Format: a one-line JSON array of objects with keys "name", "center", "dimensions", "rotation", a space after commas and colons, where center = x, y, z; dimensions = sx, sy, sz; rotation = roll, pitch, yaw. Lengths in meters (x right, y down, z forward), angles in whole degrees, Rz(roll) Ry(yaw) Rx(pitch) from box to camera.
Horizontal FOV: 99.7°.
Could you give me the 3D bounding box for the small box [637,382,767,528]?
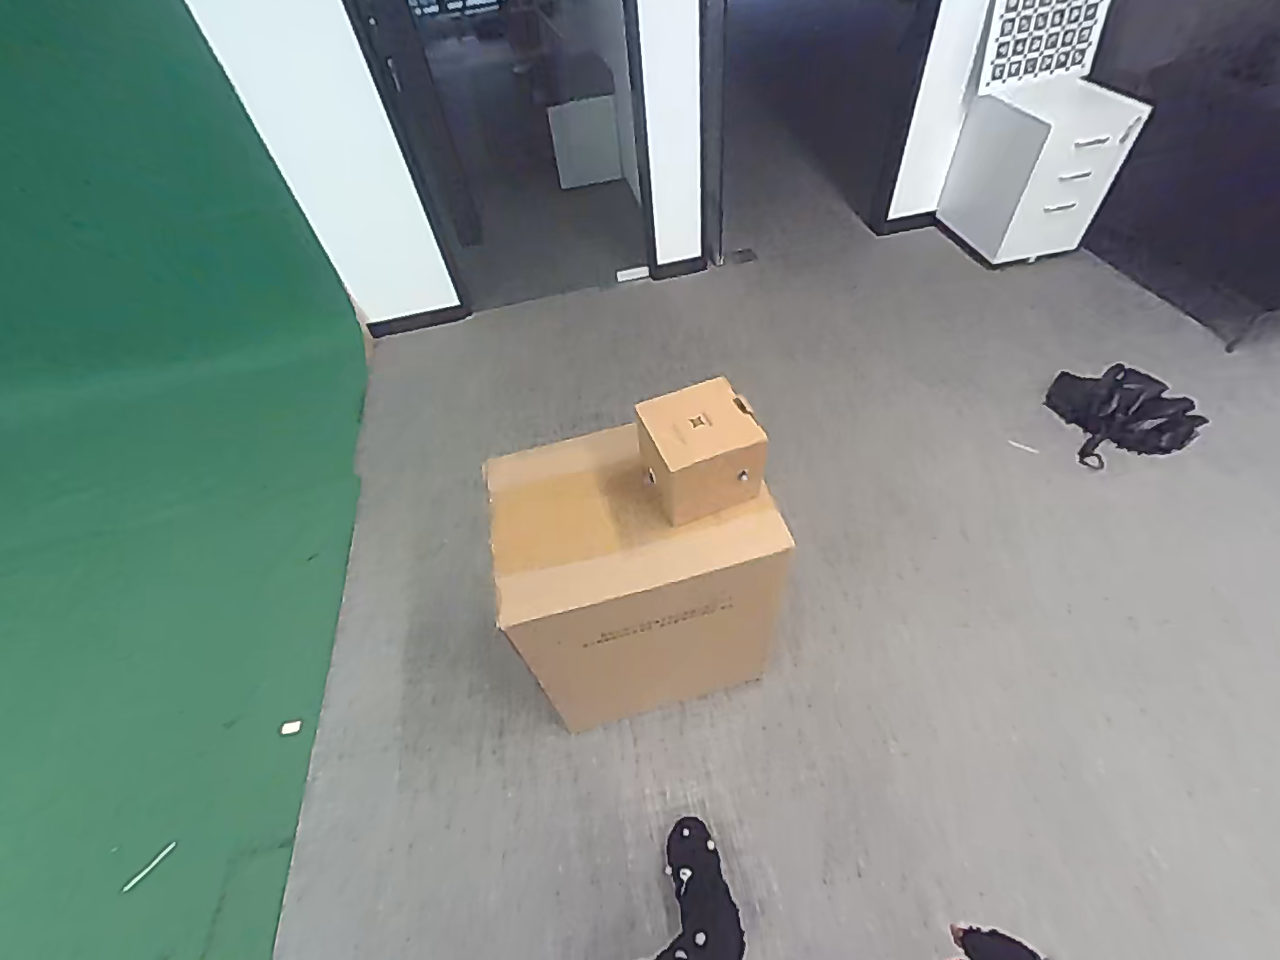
[{"name": "small box", "center": [0.108, -0.043, 0.979], "dimensions": [0.179, 0.176, 0.168], "rotation": [-21, 53, -8]}]
